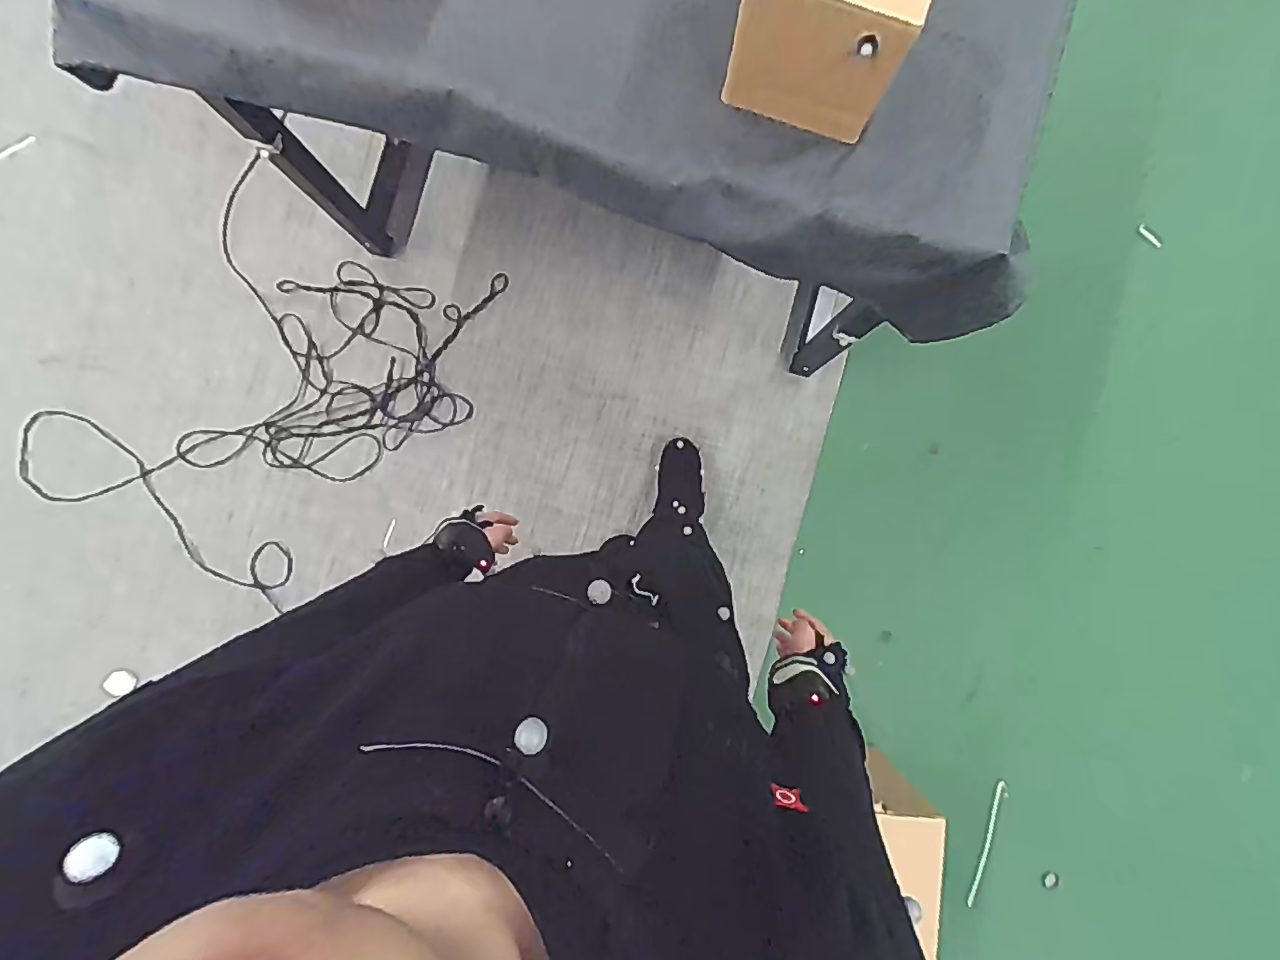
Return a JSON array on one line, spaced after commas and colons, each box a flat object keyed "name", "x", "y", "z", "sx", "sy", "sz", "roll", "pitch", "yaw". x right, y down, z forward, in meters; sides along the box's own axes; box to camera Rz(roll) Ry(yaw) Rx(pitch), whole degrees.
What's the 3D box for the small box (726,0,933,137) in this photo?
[{"name": "small box", "x": 0.205, "y": -0.516, "z": 0.585, "sx": 0.179, "sy": 0.176, "sz": 0.168, "roll": 18, "pitch": 87, "yaw": 0}]
